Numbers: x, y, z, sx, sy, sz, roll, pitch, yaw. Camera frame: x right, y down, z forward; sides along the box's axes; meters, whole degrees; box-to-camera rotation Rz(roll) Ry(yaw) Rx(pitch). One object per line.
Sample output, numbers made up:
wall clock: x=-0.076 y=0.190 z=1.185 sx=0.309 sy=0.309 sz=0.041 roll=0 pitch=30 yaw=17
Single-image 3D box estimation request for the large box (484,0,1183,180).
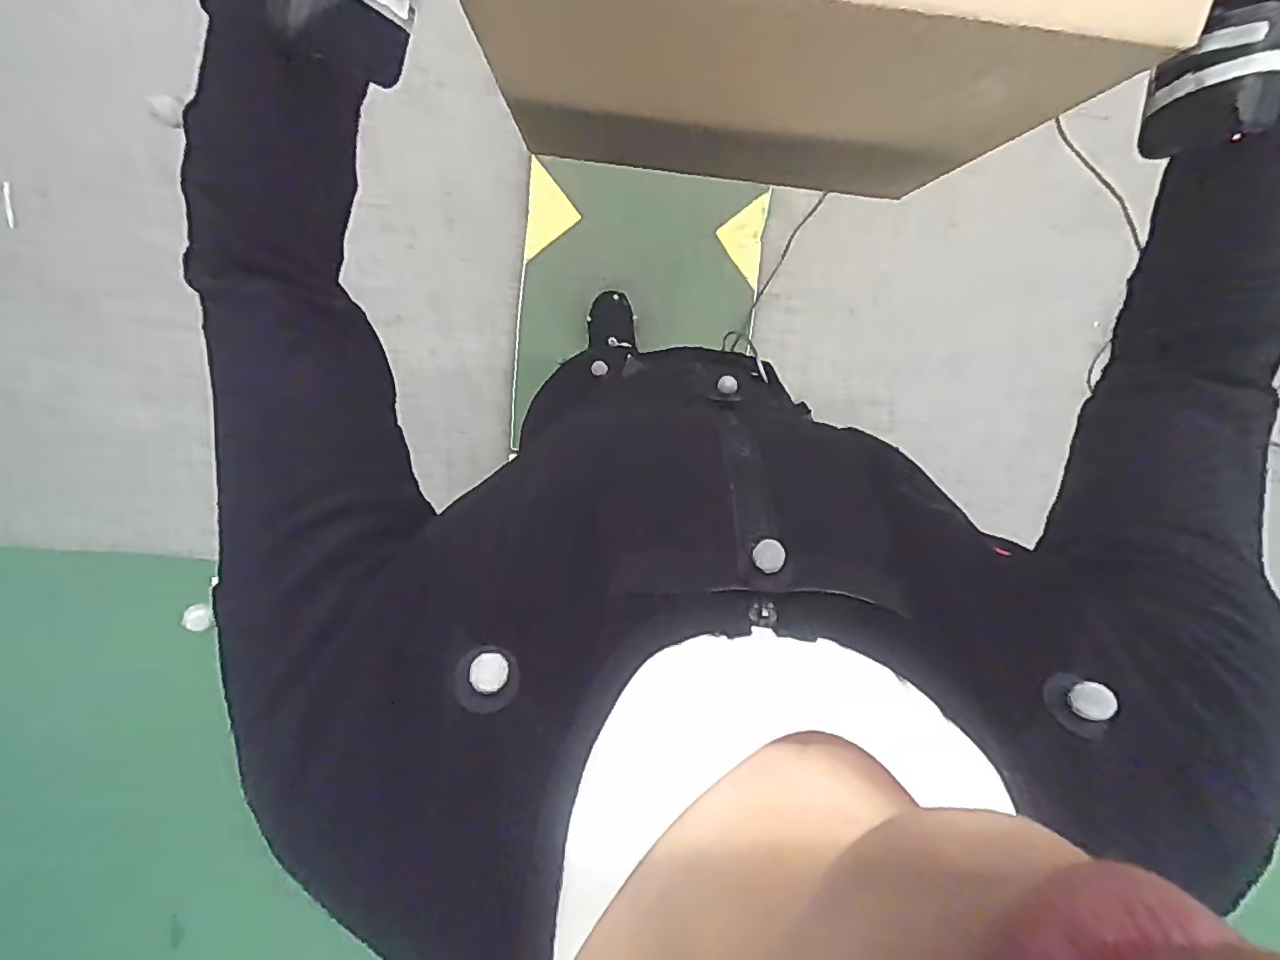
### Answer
large box: x=0.103 y=-0.447 z=0.394 sx=0.408 sy=0.320 sz=0.320 roll=4 pitch=104 yaw=-5
